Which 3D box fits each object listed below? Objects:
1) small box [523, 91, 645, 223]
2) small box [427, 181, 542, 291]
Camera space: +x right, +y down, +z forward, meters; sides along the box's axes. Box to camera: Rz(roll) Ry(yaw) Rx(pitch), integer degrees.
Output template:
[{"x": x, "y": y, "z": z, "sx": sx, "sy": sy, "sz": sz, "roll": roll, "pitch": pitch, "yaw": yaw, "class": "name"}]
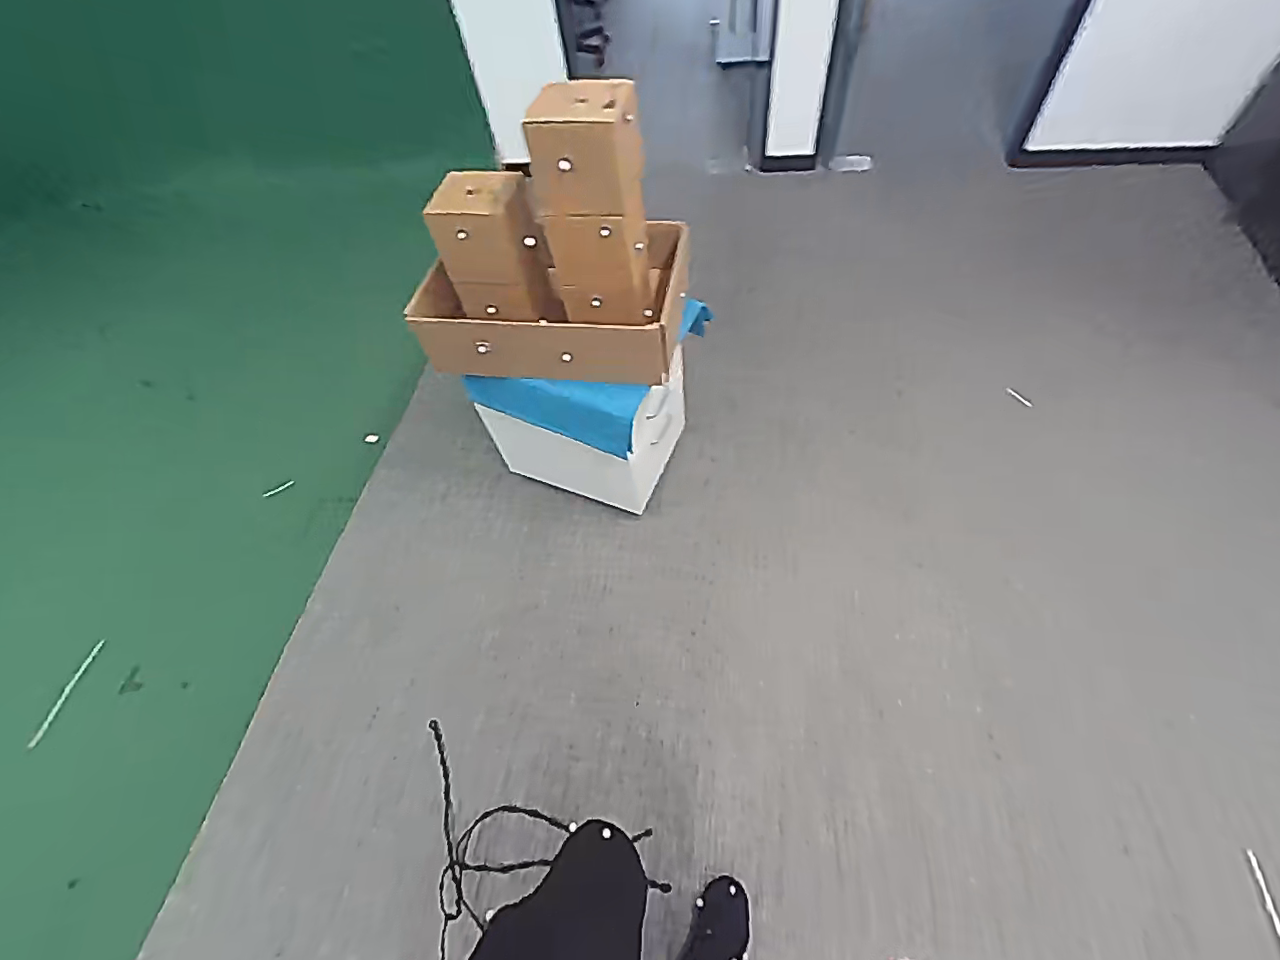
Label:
[{"x": -0.097, "y": -0.617, "z": 1.043, "sx": 0.179, "sy": 0.176, "sz": 0.168, "roll": 6, "pitch": 57, "yaw": 12, "class": "small box"}, {"x": -0.340, "y": -0.546, "z": 1.218, "sx": 0.179, "sy": 0.176, "sz": 0.168, "roll": 6, "pitch": 57, "yaw": 9, "class": "small box"}]
